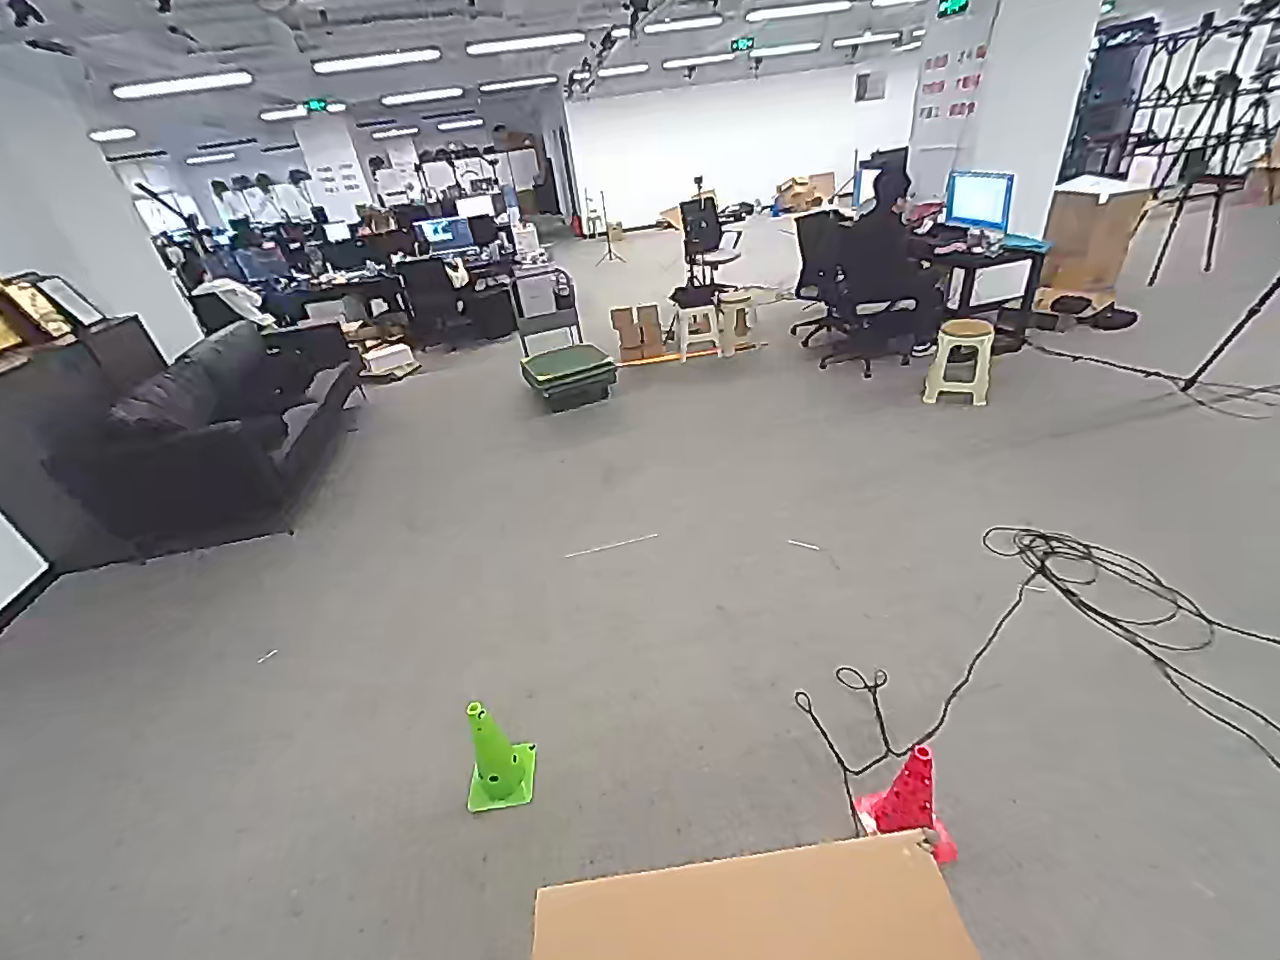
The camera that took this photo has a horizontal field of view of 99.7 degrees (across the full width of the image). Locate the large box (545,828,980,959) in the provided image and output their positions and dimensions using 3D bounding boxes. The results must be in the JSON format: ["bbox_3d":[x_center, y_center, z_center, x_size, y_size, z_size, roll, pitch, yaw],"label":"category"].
[{"bbox_3d":[0.131,0.608,0.537,0.408,0.320,0.320,-9,38,-1],"label":"large box"}]

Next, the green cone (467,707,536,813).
[{"bbox_3d":[-0.457,0.810,1.642,0.200,0.368,0.202,-9,33,-1],"label":"green cone"}]
